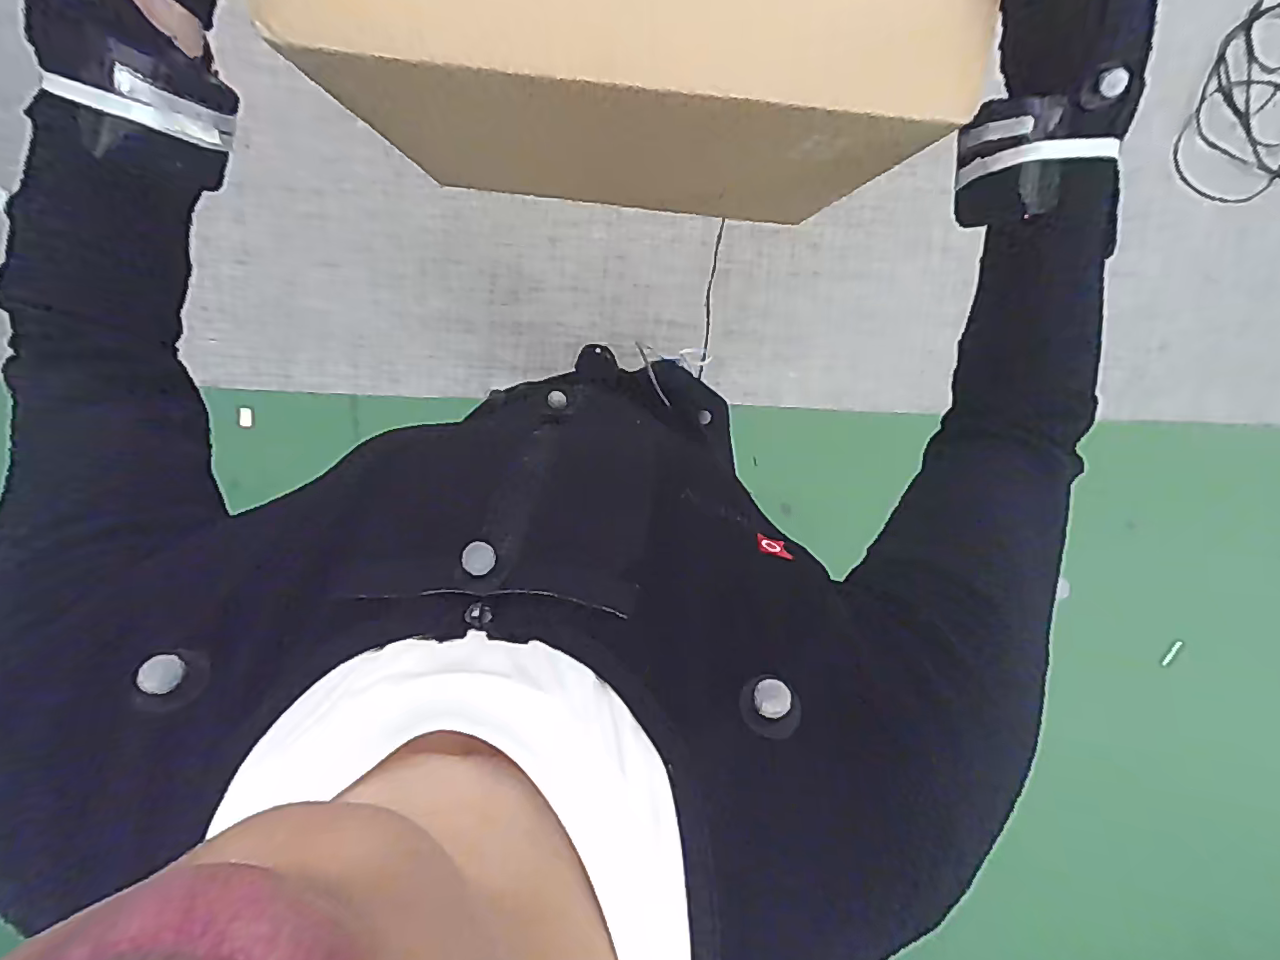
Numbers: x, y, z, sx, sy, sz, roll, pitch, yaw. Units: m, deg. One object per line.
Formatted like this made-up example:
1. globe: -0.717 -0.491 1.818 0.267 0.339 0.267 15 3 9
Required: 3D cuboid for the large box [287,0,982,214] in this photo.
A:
1. large box: 0.002 -0.419 0.422 0.408 0.320 0.320 4 106 -4
